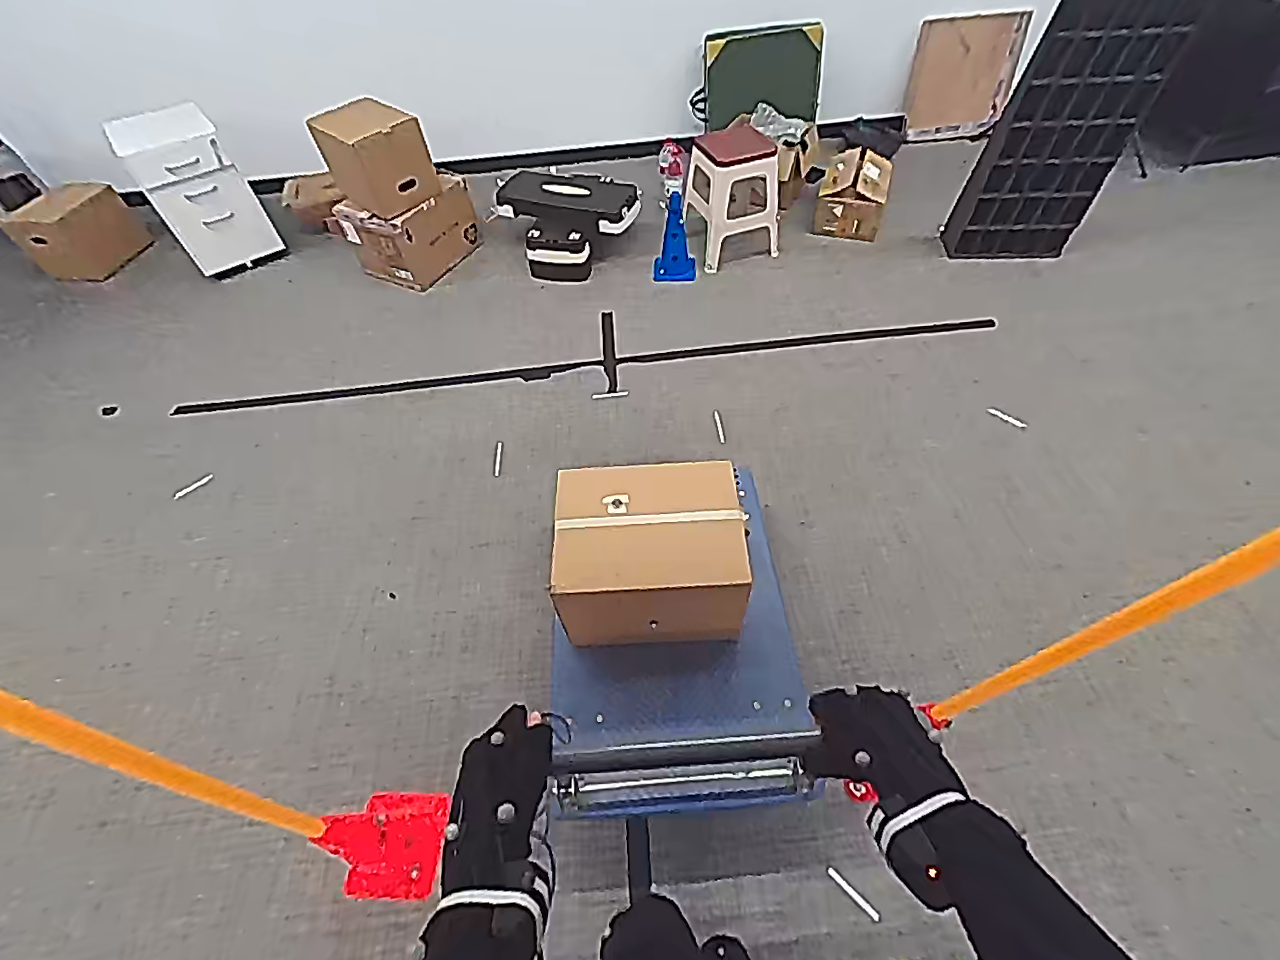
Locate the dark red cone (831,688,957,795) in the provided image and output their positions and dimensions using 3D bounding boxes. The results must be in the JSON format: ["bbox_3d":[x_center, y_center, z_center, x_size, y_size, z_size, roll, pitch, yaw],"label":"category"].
[{"bbox_3d":[0.566,0.524,1.144,0.201,0.394,0.202,-5,52,-2],"label":"dark red cone"}]

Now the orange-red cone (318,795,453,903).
[{"bbox_3d":[-0.549,0.725,1.098,0.198,0.360,0.199,1,51,4],"label":"orange-red cone"}]

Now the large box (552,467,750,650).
[{"bbox_3d":[0.025,0.194,1.282,0.408,0.320,0.320,-4,53,2],"label":"large box"}]
